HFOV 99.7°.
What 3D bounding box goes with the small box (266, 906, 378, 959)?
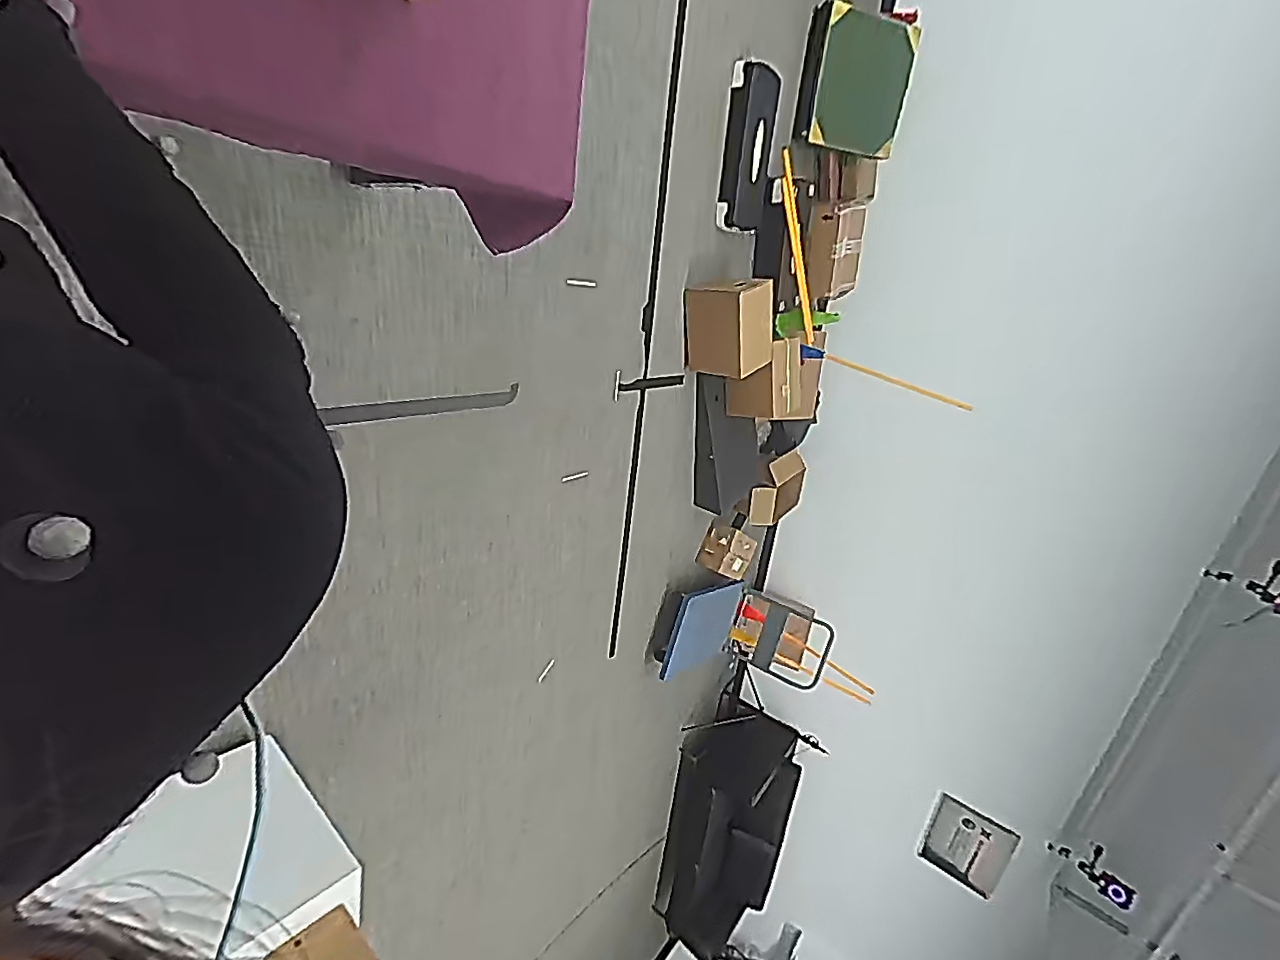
[{"bbox_3d":[-0.701,1.103,1.185,0.168,0.176,0.179,-10,118,-53],"label":"small box"}]
